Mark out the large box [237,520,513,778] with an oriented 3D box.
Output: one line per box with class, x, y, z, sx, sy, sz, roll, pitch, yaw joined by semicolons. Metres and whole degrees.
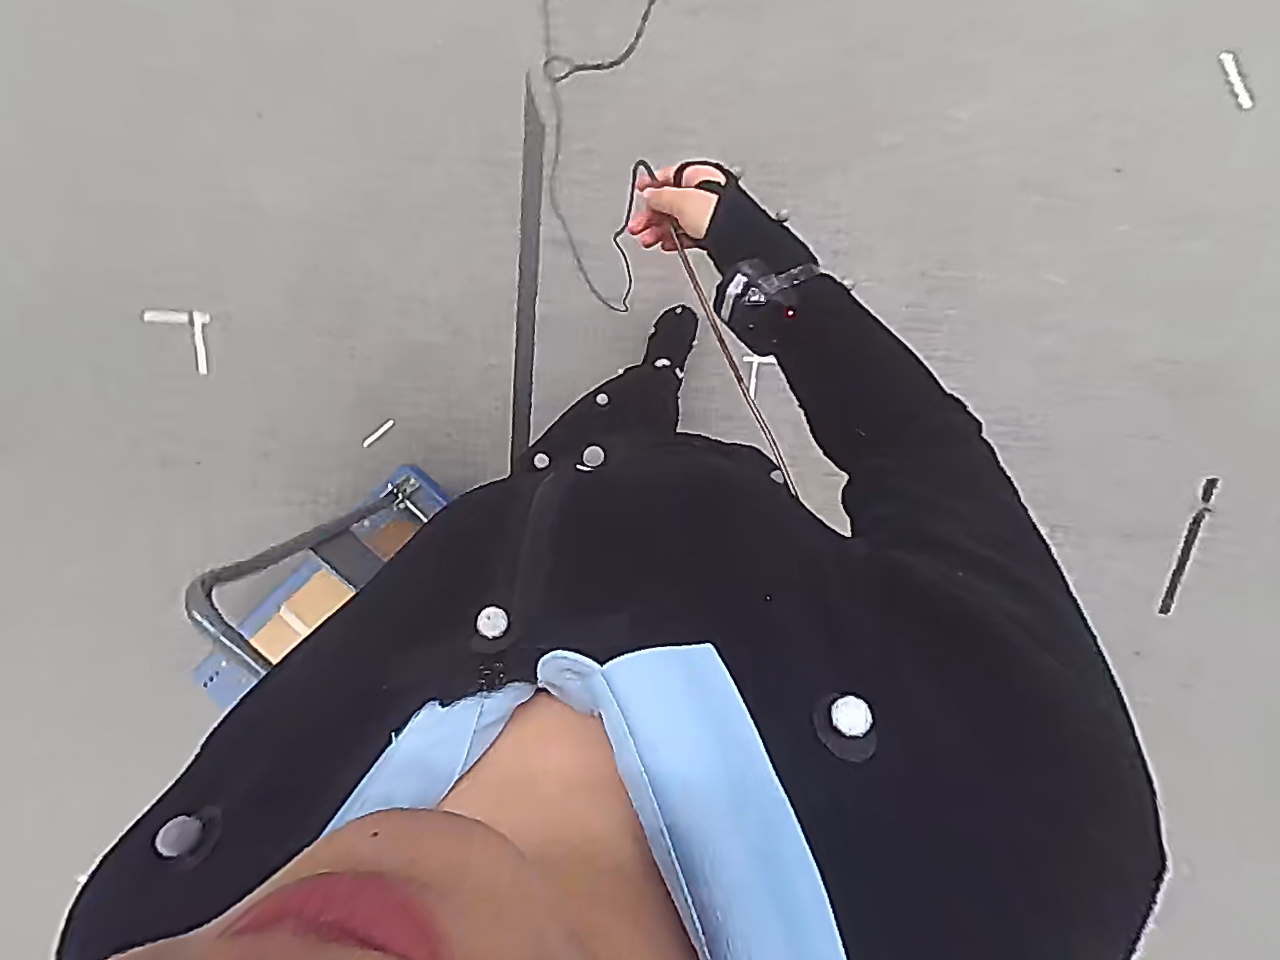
large box;-0.571;0.366;1.244;0.320;0.320;0.408;-42;98;8
